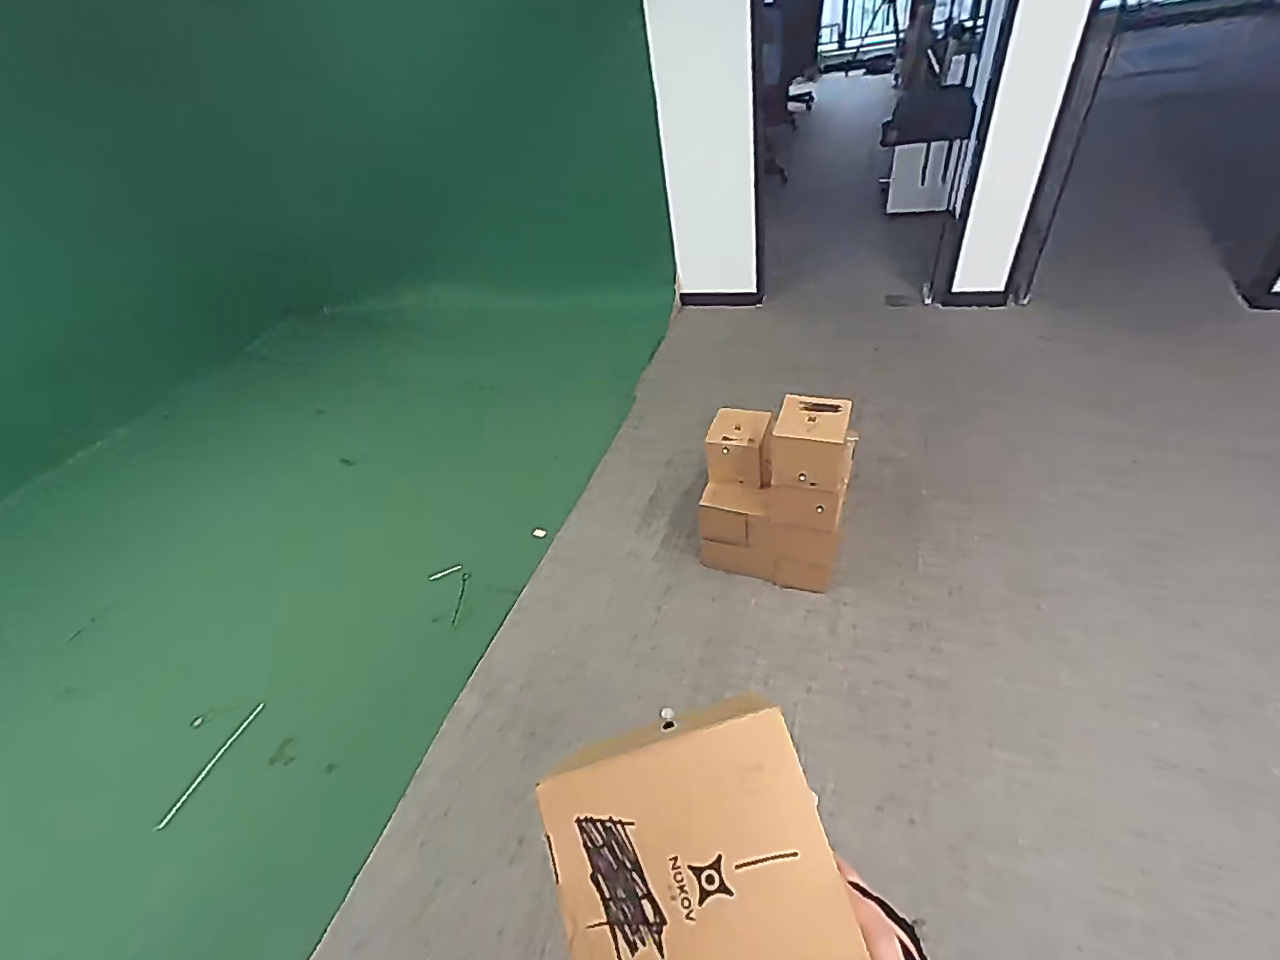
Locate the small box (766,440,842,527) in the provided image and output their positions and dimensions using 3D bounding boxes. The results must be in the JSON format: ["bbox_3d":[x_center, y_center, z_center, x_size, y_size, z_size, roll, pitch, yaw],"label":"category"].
[{"bbox_3d":[0.457,0.013,1.513,0.179,0.176,0.168,8,45,21],"label":"small box"}]

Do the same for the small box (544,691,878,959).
[{"bbox_3d":[0.045,0.272,0.416,0.179,0.176,0.168,-17,71,-2],"label":"small box"}]

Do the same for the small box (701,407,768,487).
[{"bbox_3d":[0.296,-0.104,1.678,0.168,0.176,0.179,8,45,22],"label":"small box"}]
